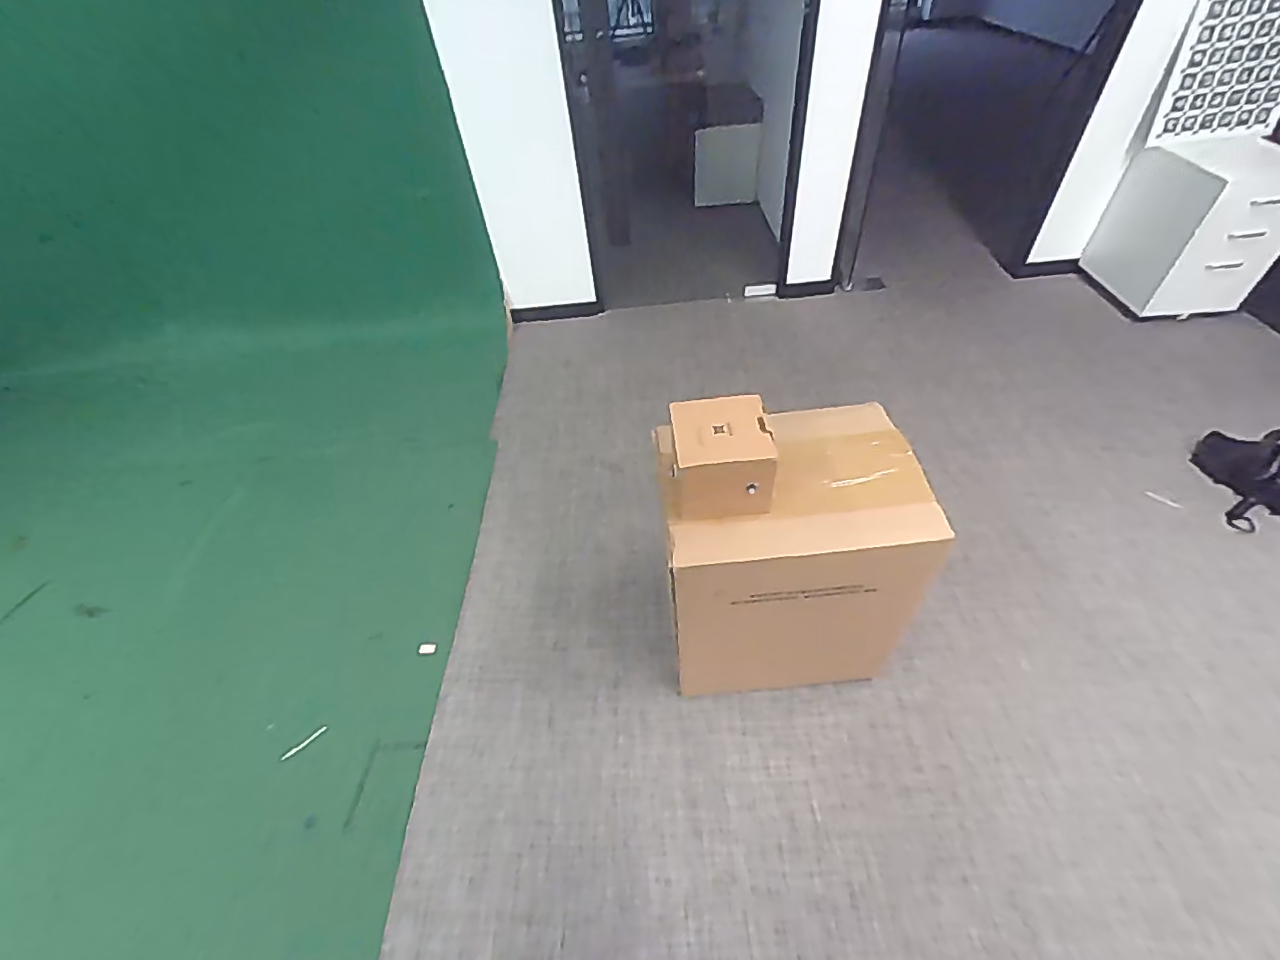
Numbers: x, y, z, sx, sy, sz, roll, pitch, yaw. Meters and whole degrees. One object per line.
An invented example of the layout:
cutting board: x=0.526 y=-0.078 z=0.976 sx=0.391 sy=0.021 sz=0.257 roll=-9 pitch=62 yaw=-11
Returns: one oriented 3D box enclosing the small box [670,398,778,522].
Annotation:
small box: x=0.156 y=-0.035 z=1.052 sx=0.179 sy=0.176 sz=0.168 roll=-7 pitch=50 yaw=2
